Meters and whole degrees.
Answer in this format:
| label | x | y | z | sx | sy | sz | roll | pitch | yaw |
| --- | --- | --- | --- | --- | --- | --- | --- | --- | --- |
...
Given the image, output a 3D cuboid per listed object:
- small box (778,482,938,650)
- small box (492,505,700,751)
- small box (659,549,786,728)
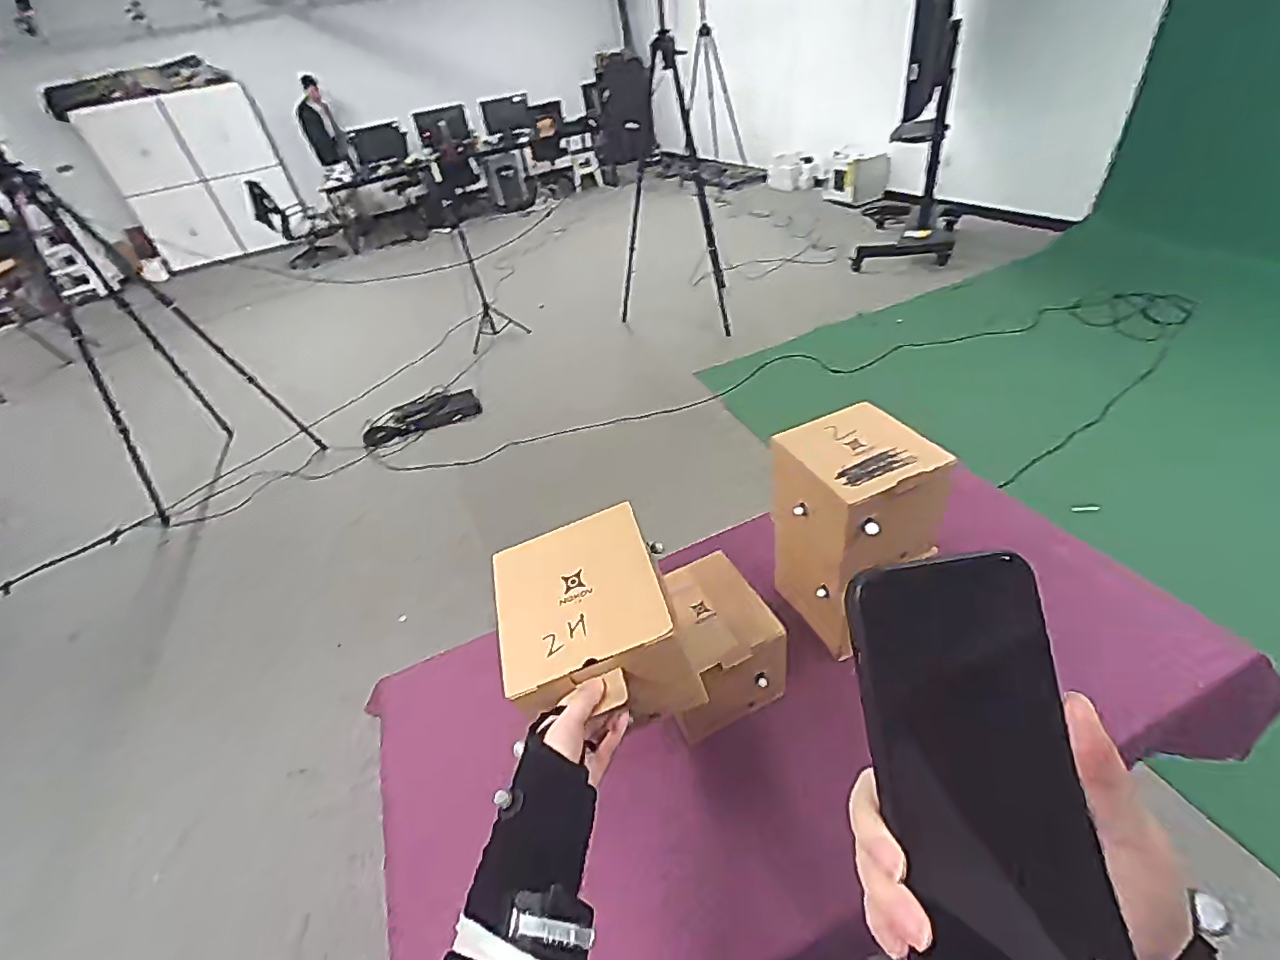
| label | x | y | z | sx | sy | sz | roll | pitch | yaw |
| --- | --- | --- | --- | --- | --- | --- | --- | --- | --- |
| small box | 0.339 | 0.138 | 0.880 | 0.168 | 0.176 | 0.179 | -23 | 41 | -13 |
| small box | -0.048 | 0.164 | 0.596 | 0.168 | 0.176 | 0.179 | -22 | 45 | 1 |
| small box | 0.104 | 0.243 | 0.815 | 0.168 | 0.176 | 0.179 | -22 | 39 | -13 |
